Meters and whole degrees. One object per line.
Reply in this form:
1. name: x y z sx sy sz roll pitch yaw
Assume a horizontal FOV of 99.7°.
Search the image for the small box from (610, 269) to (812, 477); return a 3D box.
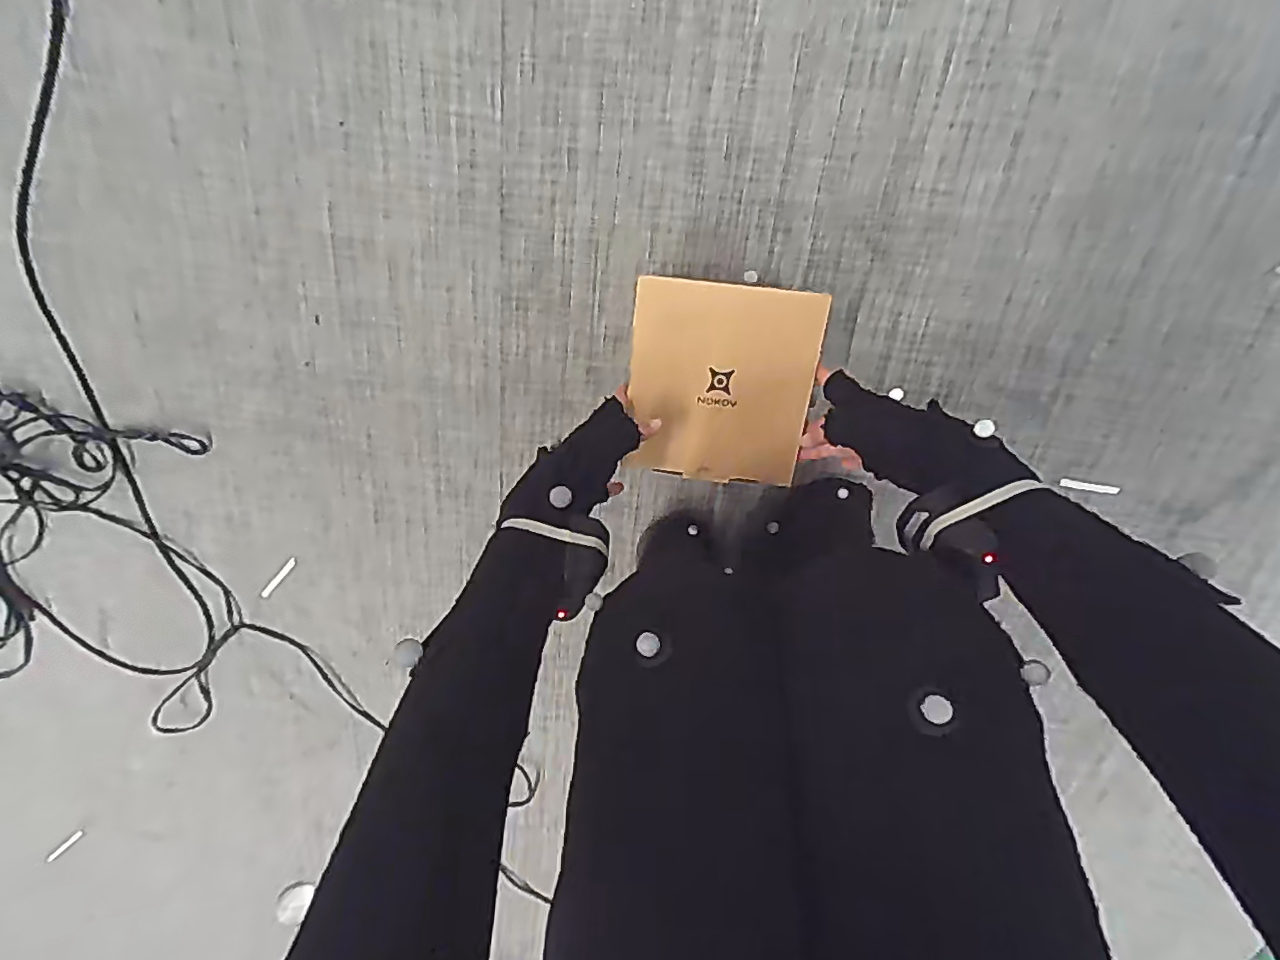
1. small box: 0.063 -0.118 0.568 0.168 0.176 0.179 6 110 1
